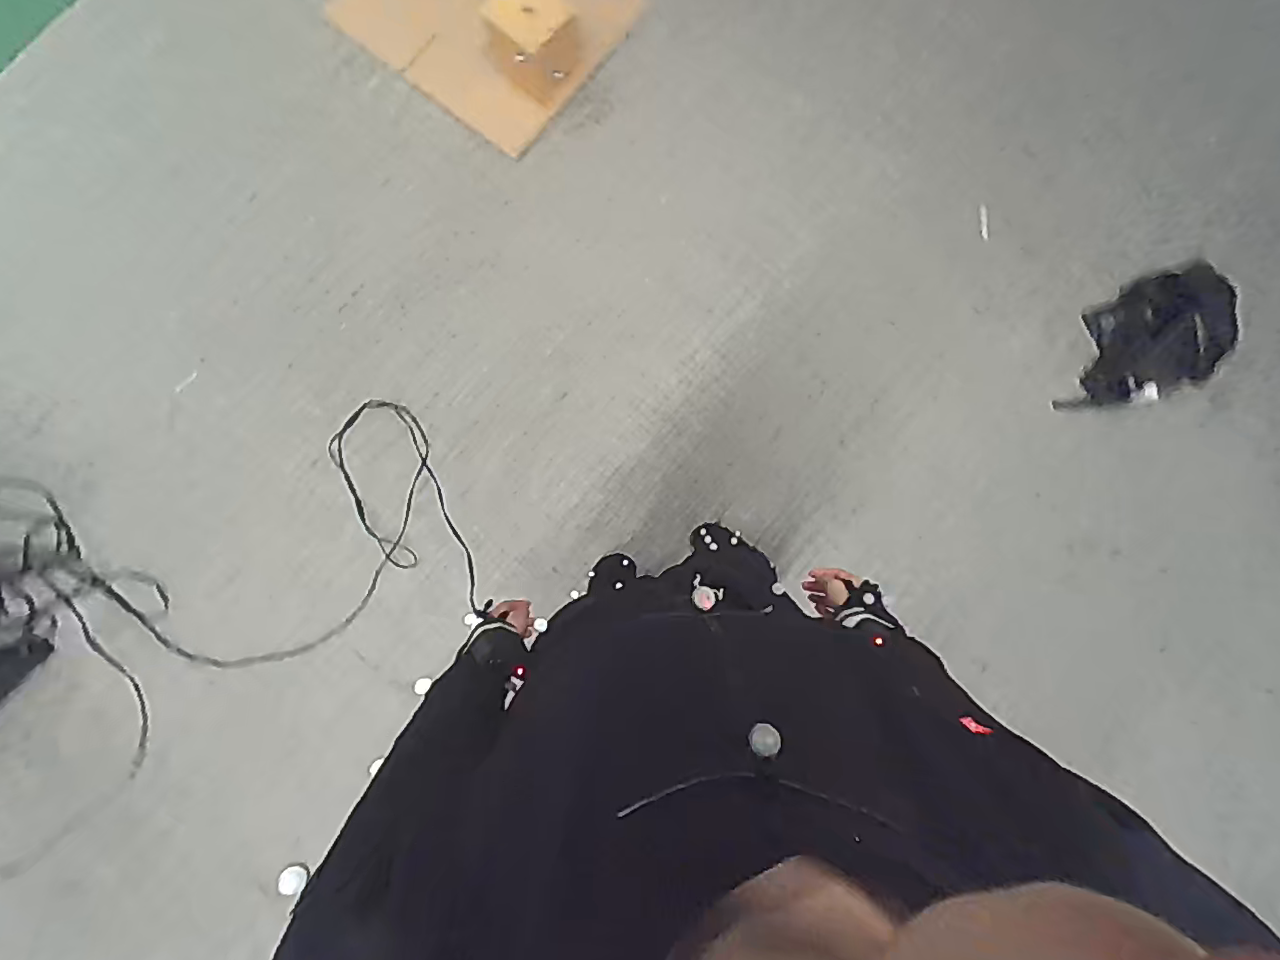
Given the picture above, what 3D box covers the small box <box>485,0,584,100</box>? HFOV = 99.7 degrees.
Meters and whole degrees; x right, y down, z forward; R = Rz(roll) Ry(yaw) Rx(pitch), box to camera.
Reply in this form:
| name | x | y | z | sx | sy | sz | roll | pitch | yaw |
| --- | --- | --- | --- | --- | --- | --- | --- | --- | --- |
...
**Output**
| name | x | y | z | sx | sy | sz | roll | pitch | yaw |
| --- | --- | --- | --- | --- | --- | --- | --- | --- | --- |
| small box | -0.264 | -1.144 | 1.397 | 0.179 | 0.176 | 0.168 | 40 | 85 | 2 |
